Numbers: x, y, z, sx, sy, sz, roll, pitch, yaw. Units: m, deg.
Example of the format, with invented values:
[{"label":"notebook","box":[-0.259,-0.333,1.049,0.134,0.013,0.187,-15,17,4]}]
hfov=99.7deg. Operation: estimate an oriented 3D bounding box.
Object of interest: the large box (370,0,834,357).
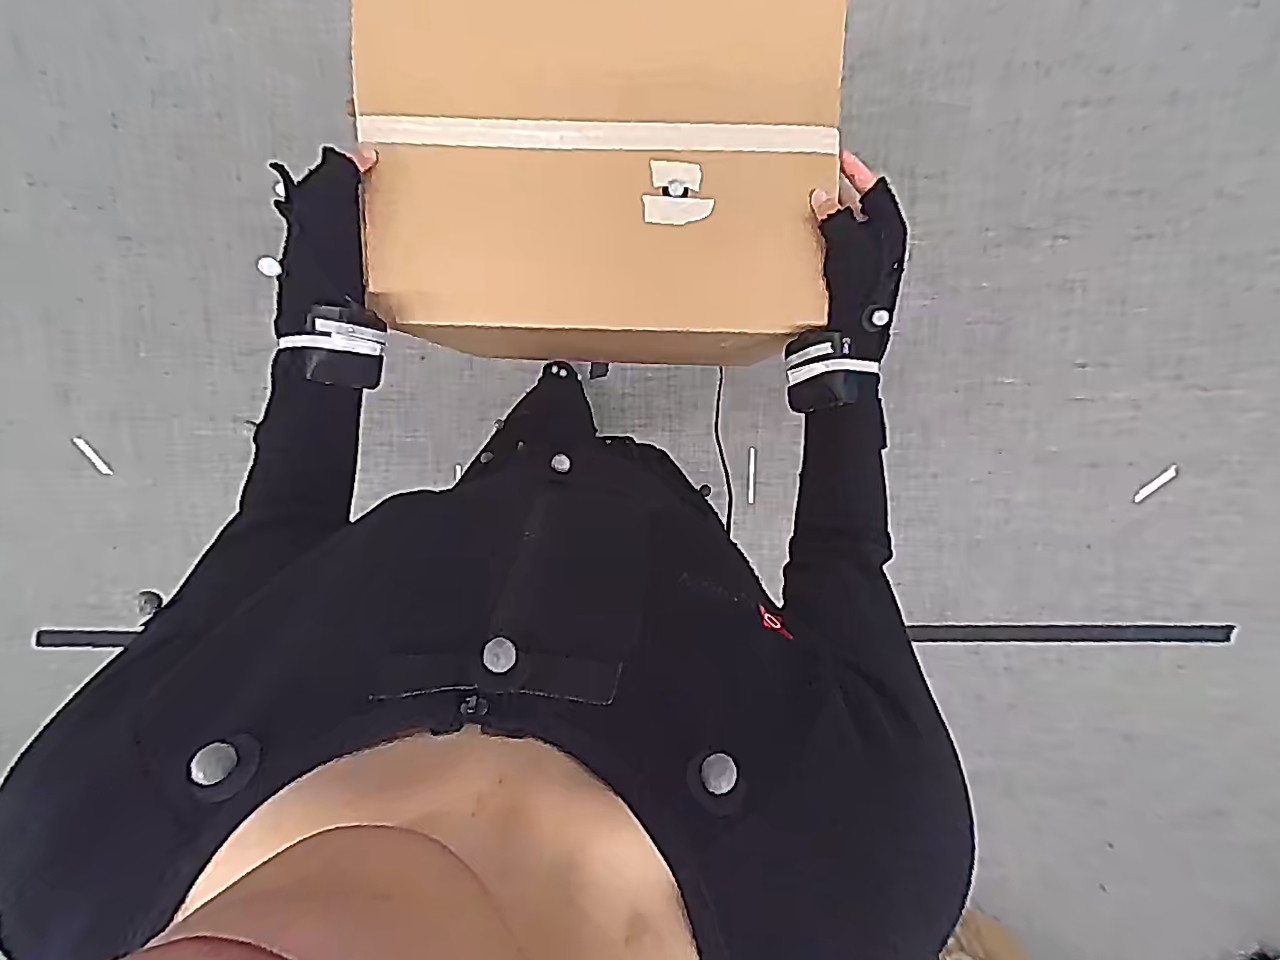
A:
[{"label":"large box","box":[-0.037,-0.314,0.622,0.408,0.320,0.320,1,98,-1]}]
